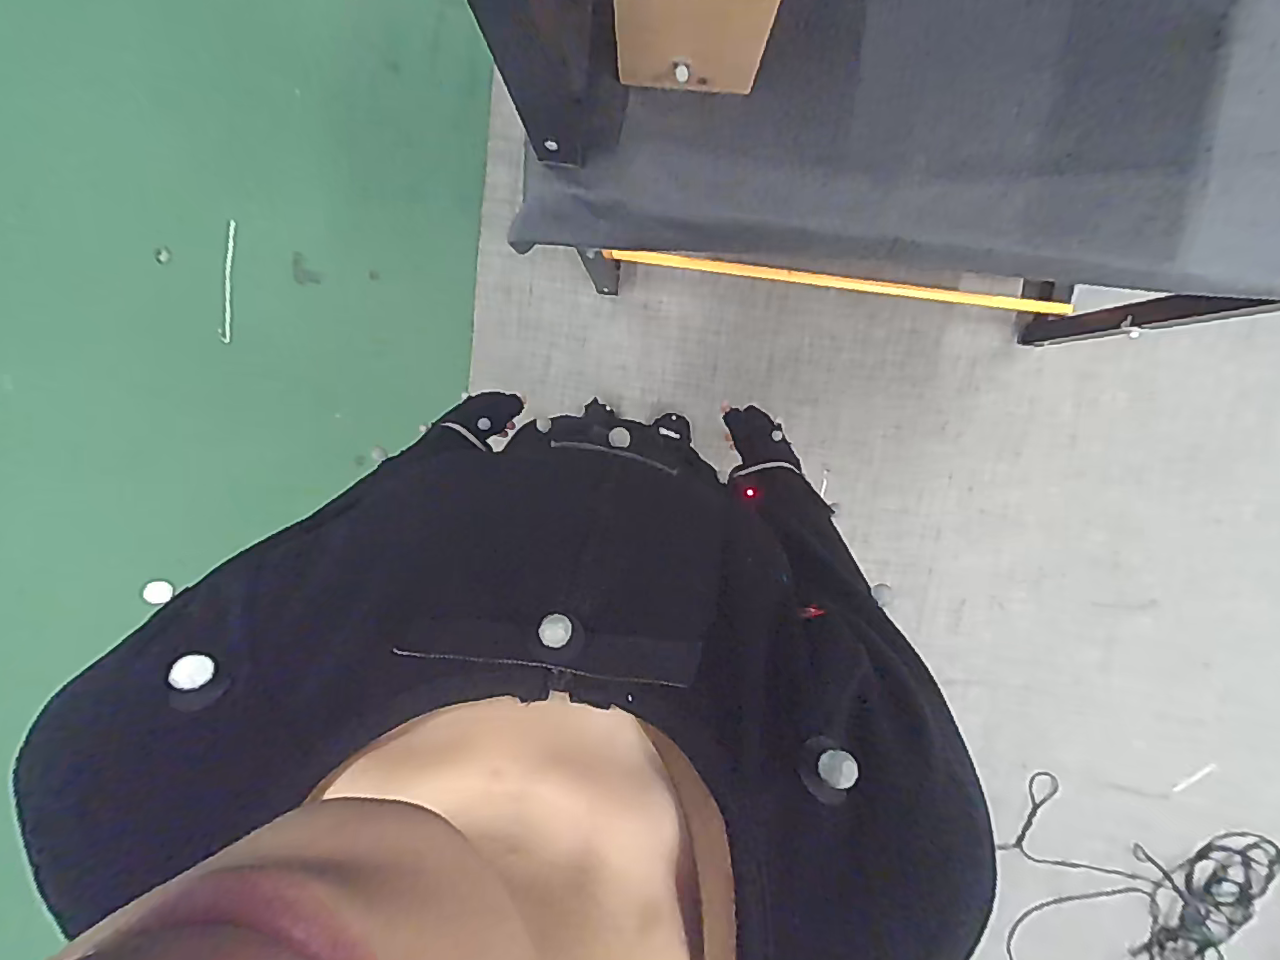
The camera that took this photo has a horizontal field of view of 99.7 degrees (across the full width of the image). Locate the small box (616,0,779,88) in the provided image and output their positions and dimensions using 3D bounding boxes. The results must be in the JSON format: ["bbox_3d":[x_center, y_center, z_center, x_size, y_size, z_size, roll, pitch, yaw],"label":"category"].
[{"bbox_3d":[0.062,-0.568,0.579,0.168,0.176,0.179,5,98,0],"label":"small box"}]
